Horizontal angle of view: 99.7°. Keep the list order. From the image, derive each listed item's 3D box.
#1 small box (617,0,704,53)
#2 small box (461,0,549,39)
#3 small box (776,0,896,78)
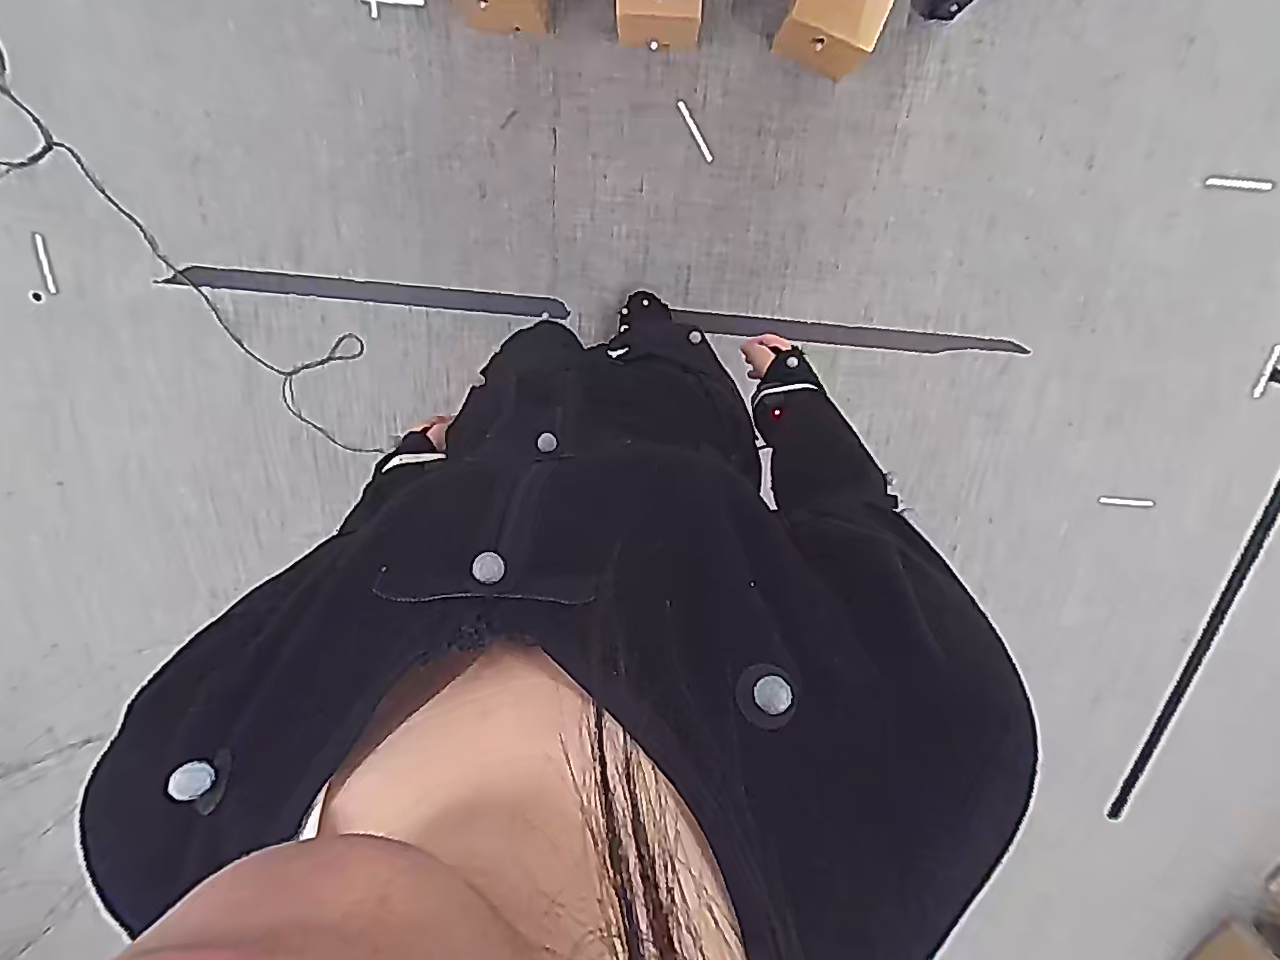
[{"bbox_3d":[0.043,-0.988,1.071,0.168,0.176,0.179,4,111,0],"label":"small box"},{"bbox_3d":[-0.272,-1.019,1.064,0.168,0.176,0.179,6,109,-2],"label":"small box"},{"bbox_3d":[0.398,-0.948,1.084,0.179,0.176,0.168,21,110,-5],"label":"small box"}]
